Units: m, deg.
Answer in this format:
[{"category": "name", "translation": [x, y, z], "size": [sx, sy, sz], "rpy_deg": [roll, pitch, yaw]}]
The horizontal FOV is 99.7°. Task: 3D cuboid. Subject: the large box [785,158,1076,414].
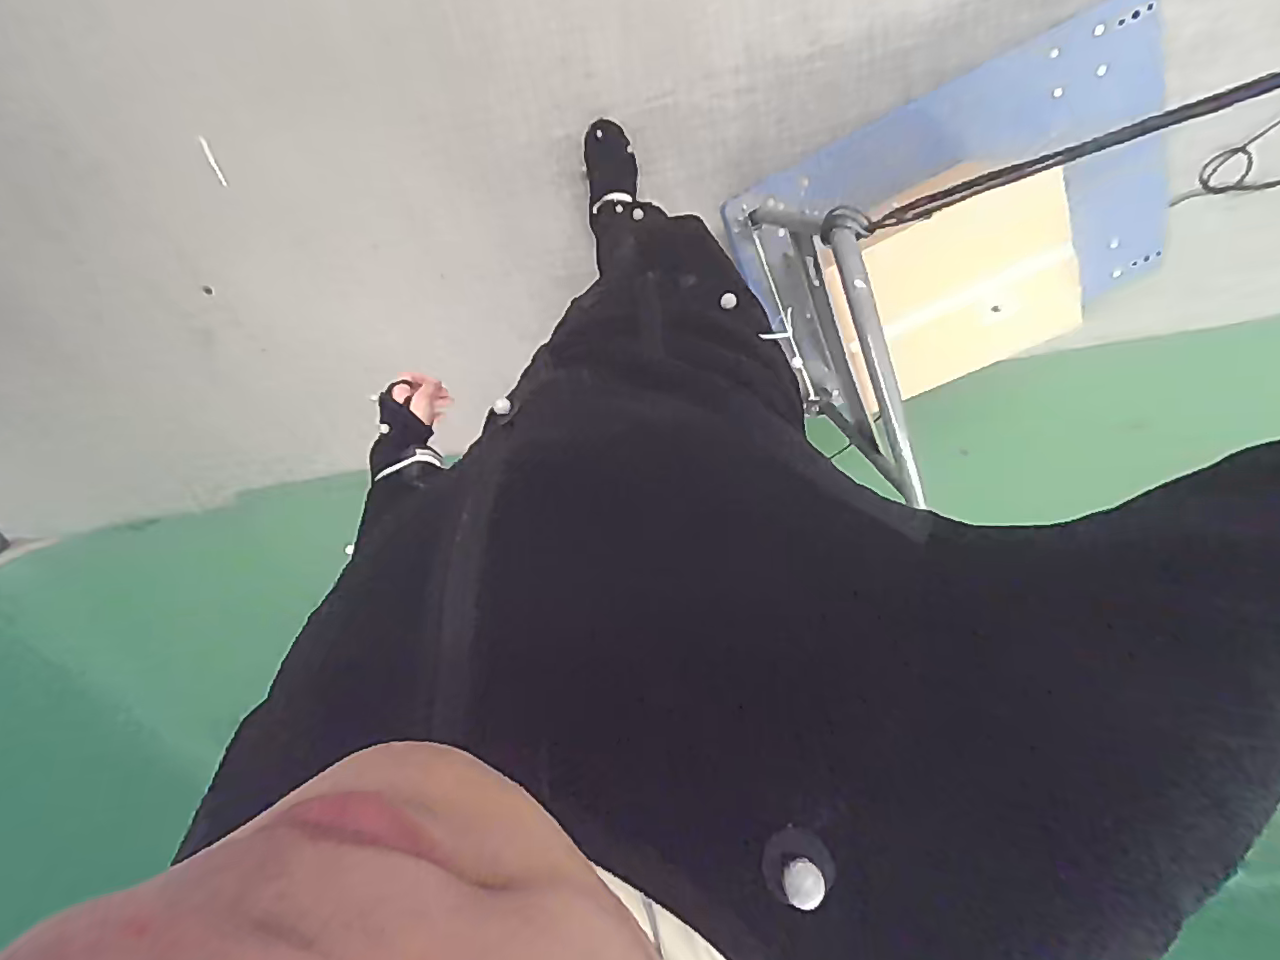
[{"category": "large box", "translation": [0.567, -0.396, 1.116], "size": [0.408, 0.320, 0.320], "rpy_deg": [-23, 116, 13]}]
